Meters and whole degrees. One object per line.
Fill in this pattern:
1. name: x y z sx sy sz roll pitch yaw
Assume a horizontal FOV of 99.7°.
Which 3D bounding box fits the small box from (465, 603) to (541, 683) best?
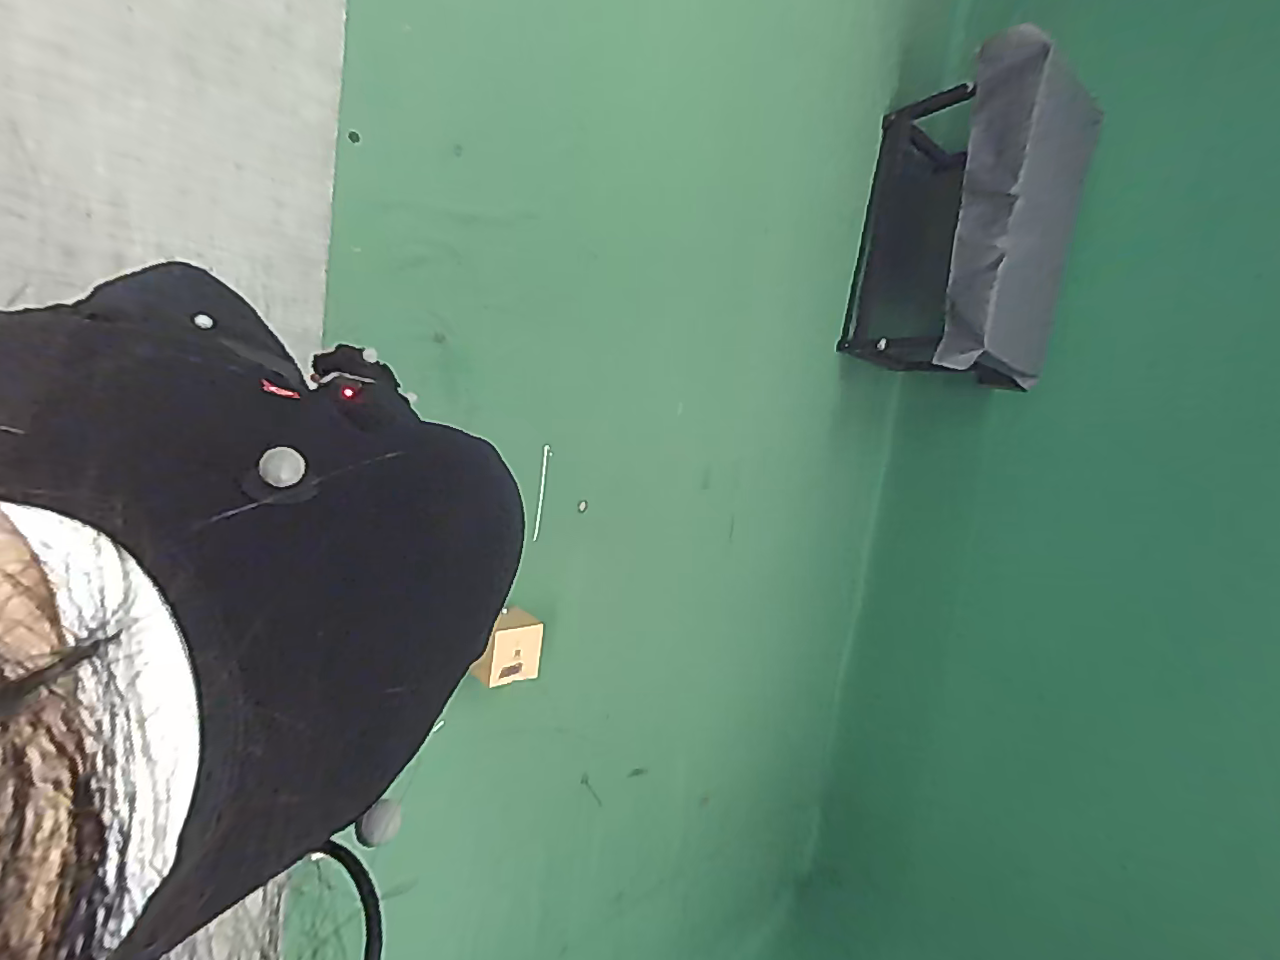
1. small box: -0.433 0.503 1.690 0.168 0.176 0.179 3 98 -43
